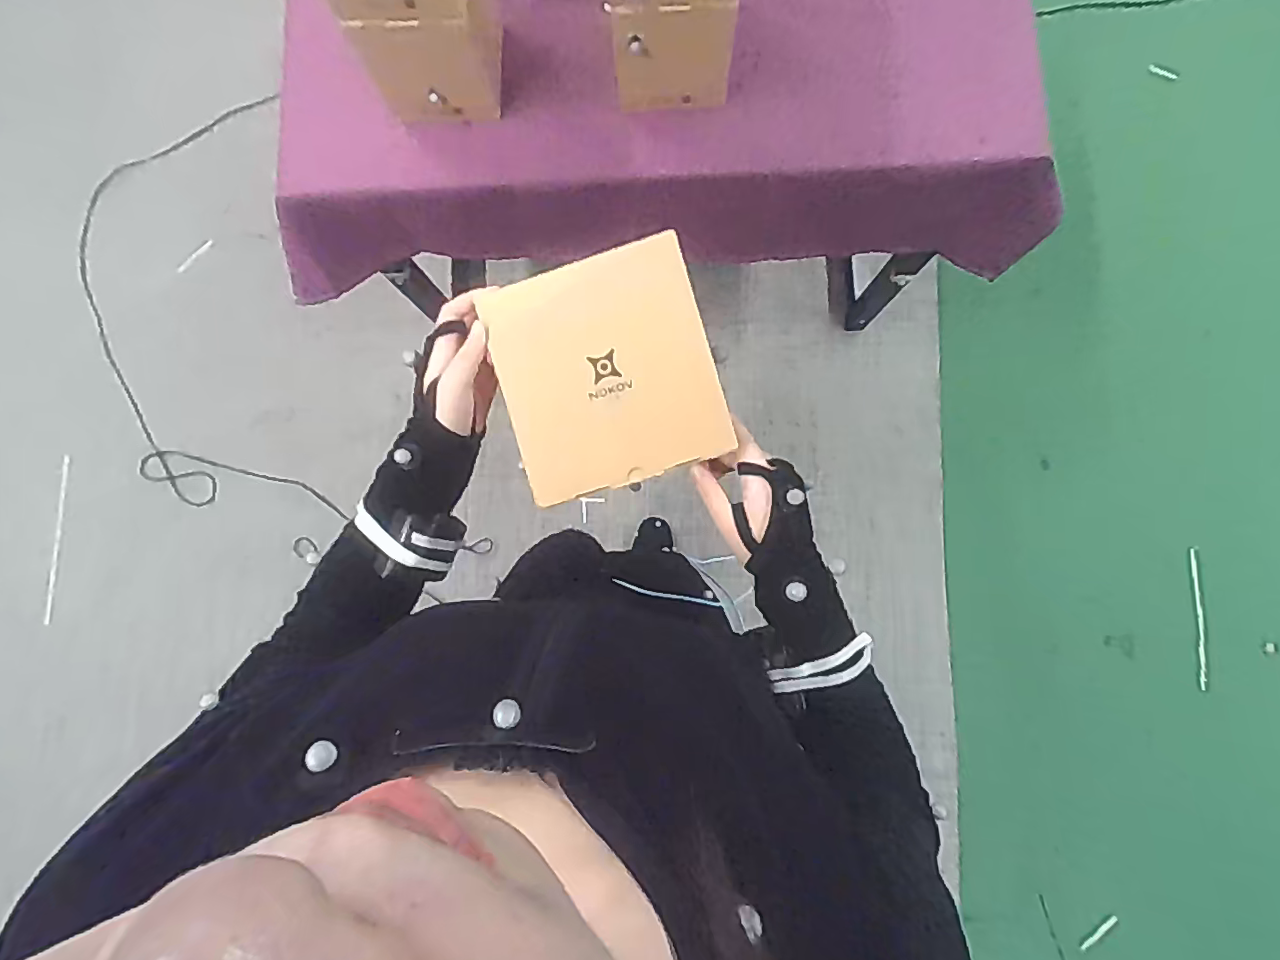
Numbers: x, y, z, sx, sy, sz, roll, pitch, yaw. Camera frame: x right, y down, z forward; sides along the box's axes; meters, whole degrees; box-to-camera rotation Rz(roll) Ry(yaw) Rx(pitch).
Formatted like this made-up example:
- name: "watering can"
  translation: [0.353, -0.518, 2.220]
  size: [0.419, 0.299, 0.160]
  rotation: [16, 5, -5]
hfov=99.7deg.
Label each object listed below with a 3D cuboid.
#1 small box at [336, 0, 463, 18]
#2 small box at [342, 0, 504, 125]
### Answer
- name: "small box"
  translation: [-0.310, -0.686, 0.629]
  size: [0.168, 0.176, 0.179]
  rotation: [0, 84, 1]
- name: "small box"
  translation: [-0.304, -0.663, 0.792]
  size: [0.168, 0.176, 0.179]
  rotation: [0, 83, 2]
